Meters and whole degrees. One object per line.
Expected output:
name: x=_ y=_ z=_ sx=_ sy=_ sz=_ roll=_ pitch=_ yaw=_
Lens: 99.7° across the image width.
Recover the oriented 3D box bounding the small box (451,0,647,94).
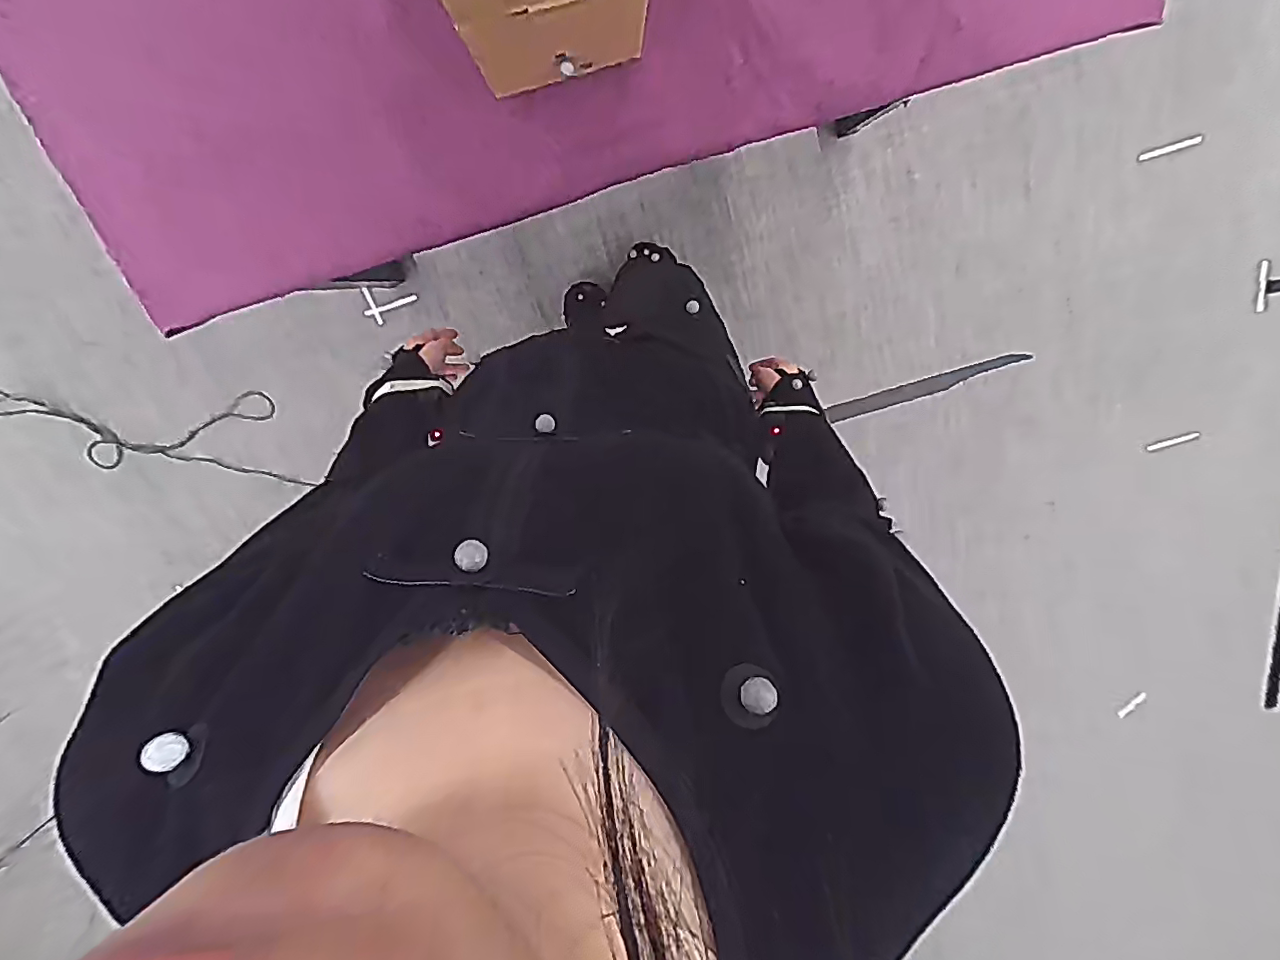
small box: x=-0.095 y=-0.493 z=0.487 sx=0.168 sy=0.176 sz=0.179 roll=-15 pitch=110 yaw=2
